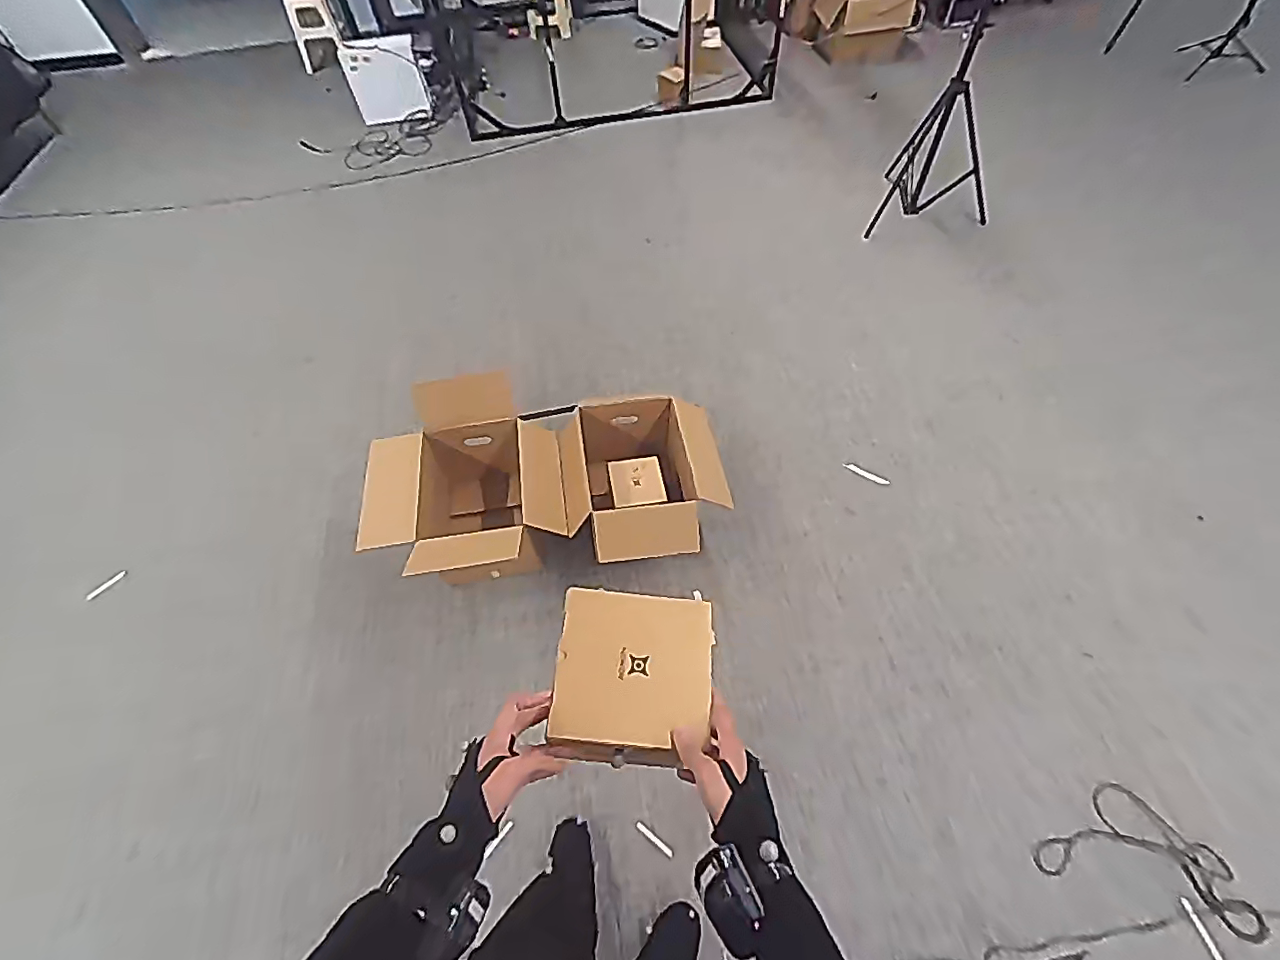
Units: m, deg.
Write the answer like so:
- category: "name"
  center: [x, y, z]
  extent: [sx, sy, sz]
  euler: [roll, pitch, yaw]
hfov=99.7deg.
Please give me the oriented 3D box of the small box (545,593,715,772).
- category: "small box"
  center: [-0.011, 0.253, 0.660]
  extent: [0.179, 0.176, 0.168]
  euler: [6, 57, -1]
